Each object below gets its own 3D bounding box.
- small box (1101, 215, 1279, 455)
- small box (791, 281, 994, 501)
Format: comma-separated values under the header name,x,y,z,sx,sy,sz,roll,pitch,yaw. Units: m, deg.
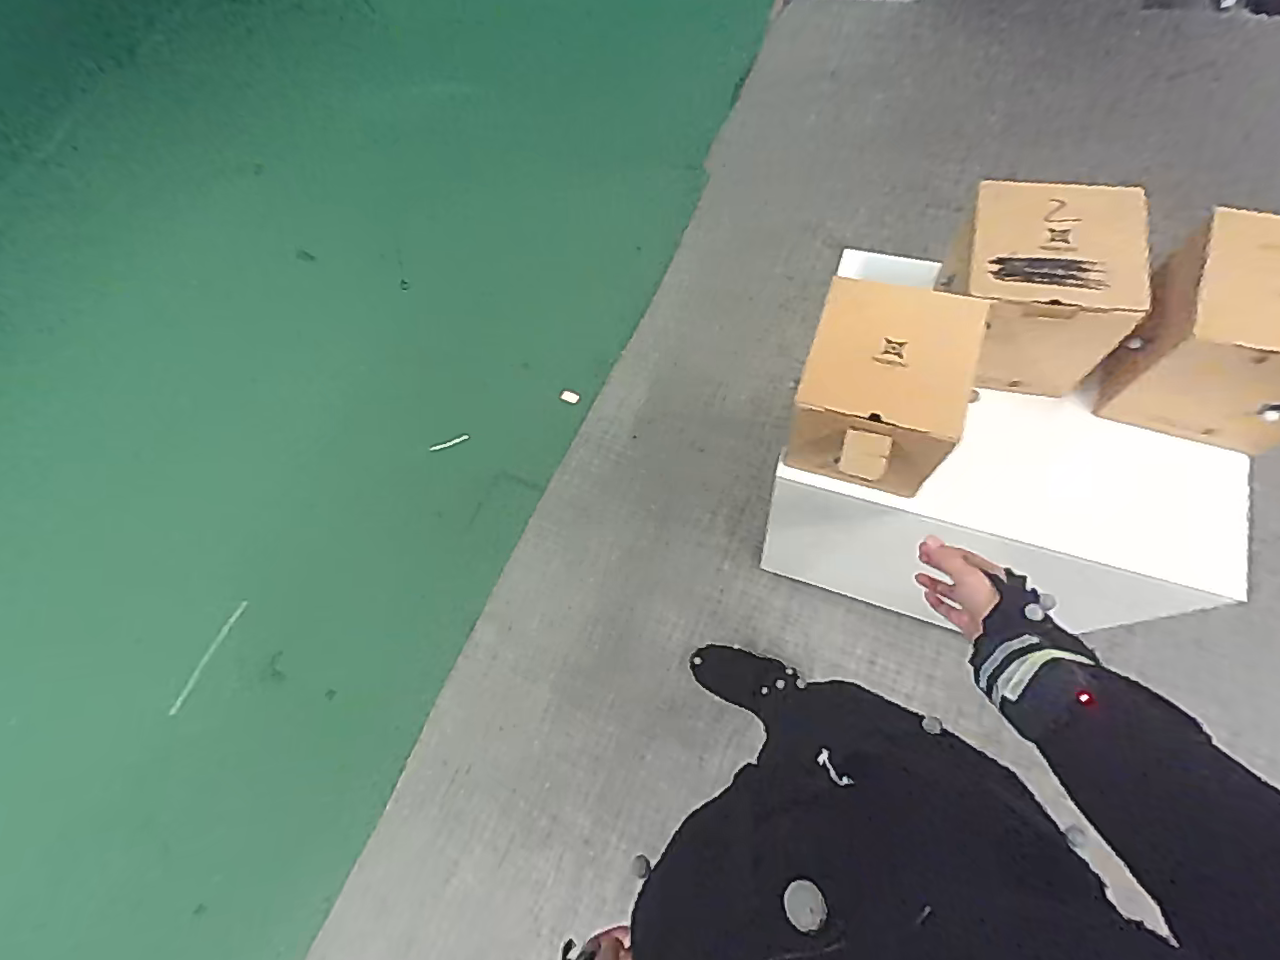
name,x,y,z,sx,sy,sz,roll,pitch,yaw
small box,0.662,-0.151,0.599,0.168,0.176,0.179,20,73,17
small box,0.287,-0.100,0.647,0.168,0.176,0.179,17,71,16
